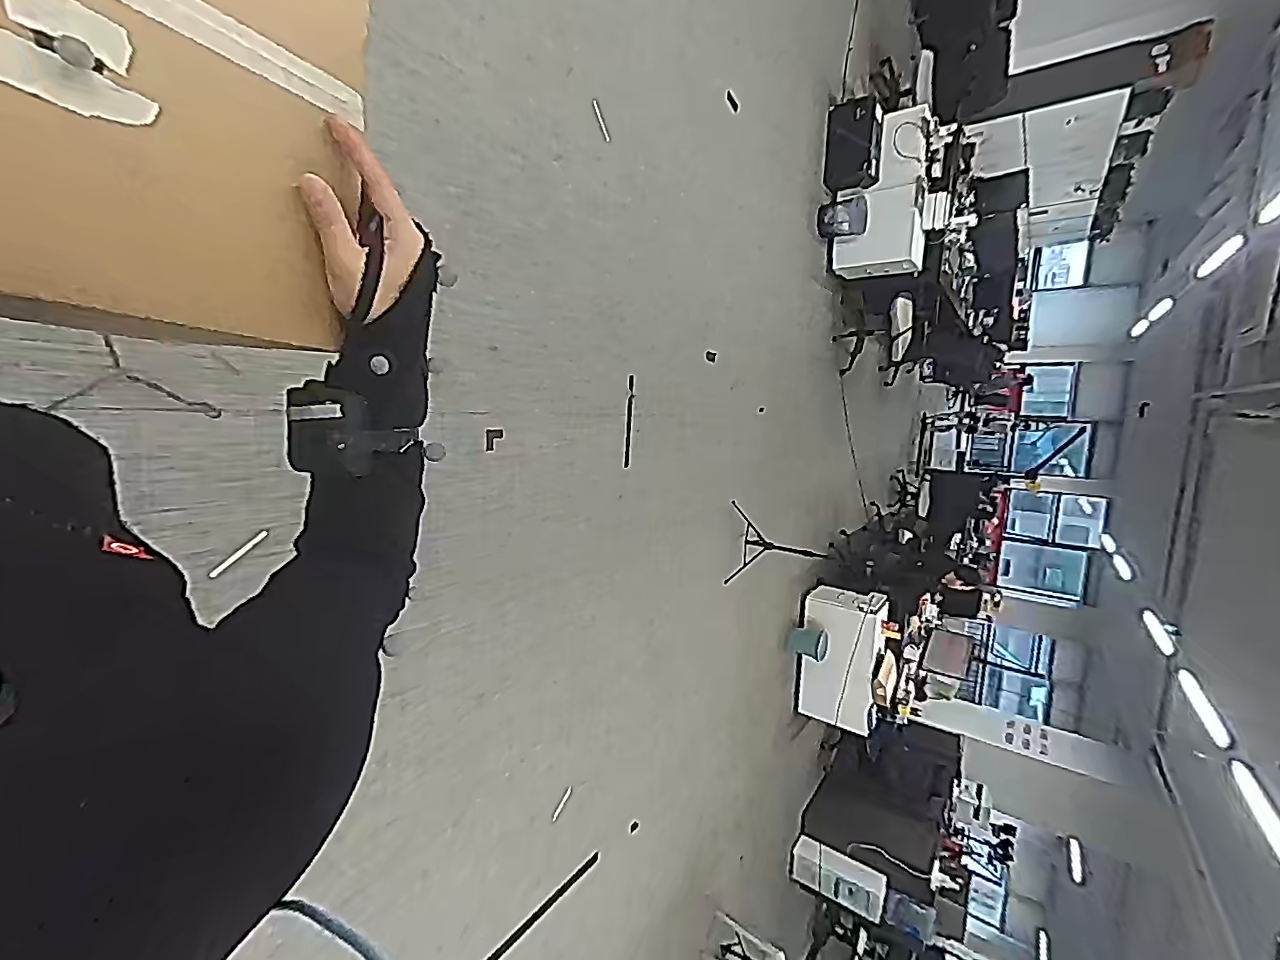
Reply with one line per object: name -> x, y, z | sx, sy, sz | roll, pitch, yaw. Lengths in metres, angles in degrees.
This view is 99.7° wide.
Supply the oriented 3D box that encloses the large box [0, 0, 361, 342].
large box -> -0.429, -0.263, 0.281 | 0.408, 0.320, 0.320 | -3, 102, -58
